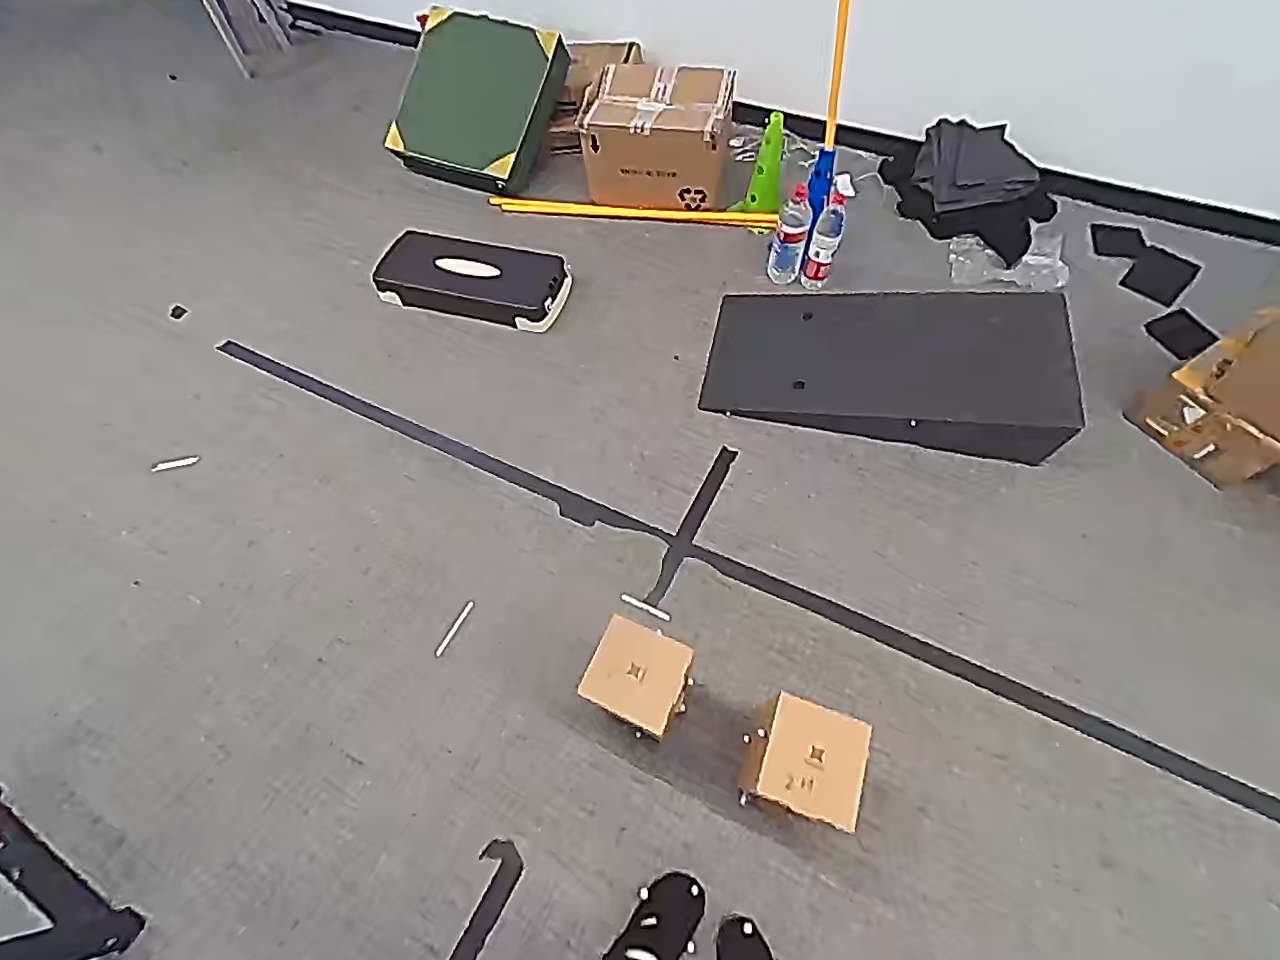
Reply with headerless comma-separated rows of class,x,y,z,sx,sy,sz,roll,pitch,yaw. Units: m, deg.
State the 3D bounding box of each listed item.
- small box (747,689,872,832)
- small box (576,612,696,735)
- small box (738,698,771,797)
small box,0.303,0.509,0.994,0.168,0.176,0.179,18,65,12
small box,-0.002,0.387,1.072,0.179,0.176,0.168,22,65,14
small box,0.310,0.585,1.140,0.168,0.176,0.179,17,64,11
